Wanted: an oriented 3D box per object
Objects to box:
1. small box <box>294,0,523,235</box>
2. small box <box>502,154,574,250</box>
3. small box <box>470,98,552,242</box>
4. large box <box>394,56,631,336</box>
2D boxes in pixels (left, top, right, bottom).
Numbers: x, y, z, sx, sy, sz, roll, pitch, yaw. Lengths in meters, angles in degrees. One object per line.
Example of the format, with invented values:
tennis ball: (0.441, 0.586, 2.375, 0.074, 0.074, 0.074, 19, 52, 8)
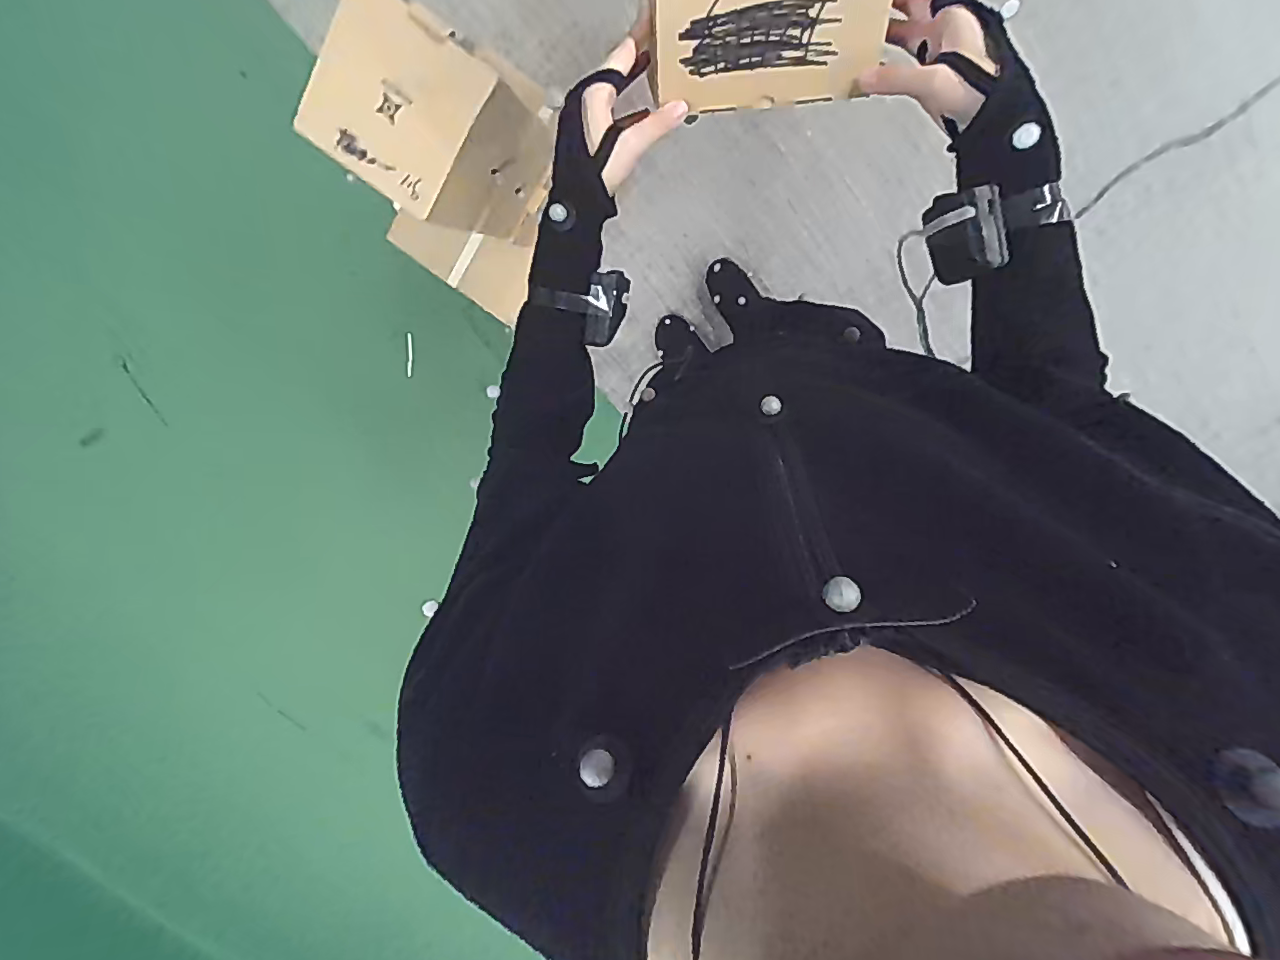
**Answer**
small box: (-0.259, -0.425, 0.650, 0.168, 0.176, 0.179, 35, 107, -9)
small box: (-0.238, -0.533, 0.960, 0.179, 0.176, 0.168, 35, 108, -9)
small box: (-0.247, -0.481, 0.804, 0.168, 0.176, 0.179, 34, 108, -9)
large box: (-0.259, -0.591, 1.200, 0.320, 0.320, 0.408, 35, 109, -8)
